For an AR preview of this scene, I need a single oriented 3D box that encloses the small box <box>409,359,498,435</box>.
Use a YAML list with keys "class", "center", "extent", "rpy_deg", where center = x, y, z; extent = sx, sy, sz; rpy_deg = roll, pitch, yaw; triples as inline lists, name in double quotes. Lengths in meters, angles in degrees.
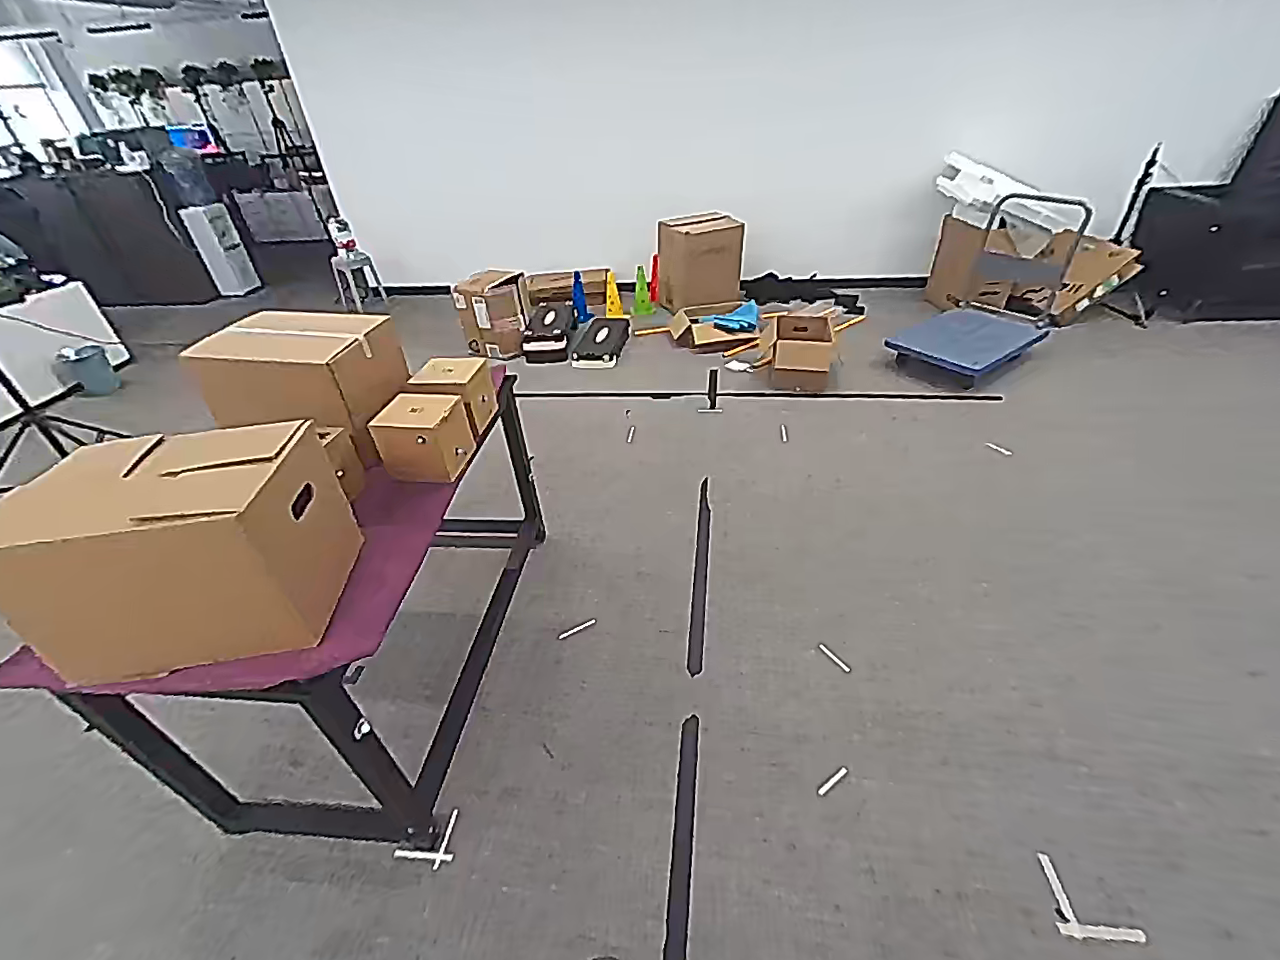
- class: "small box"
  center: [-0.532, -0.240, 1.573]
  extent: [0.179, 0.176, 0.168]
  rpy_deg: [1, 36, 8]
